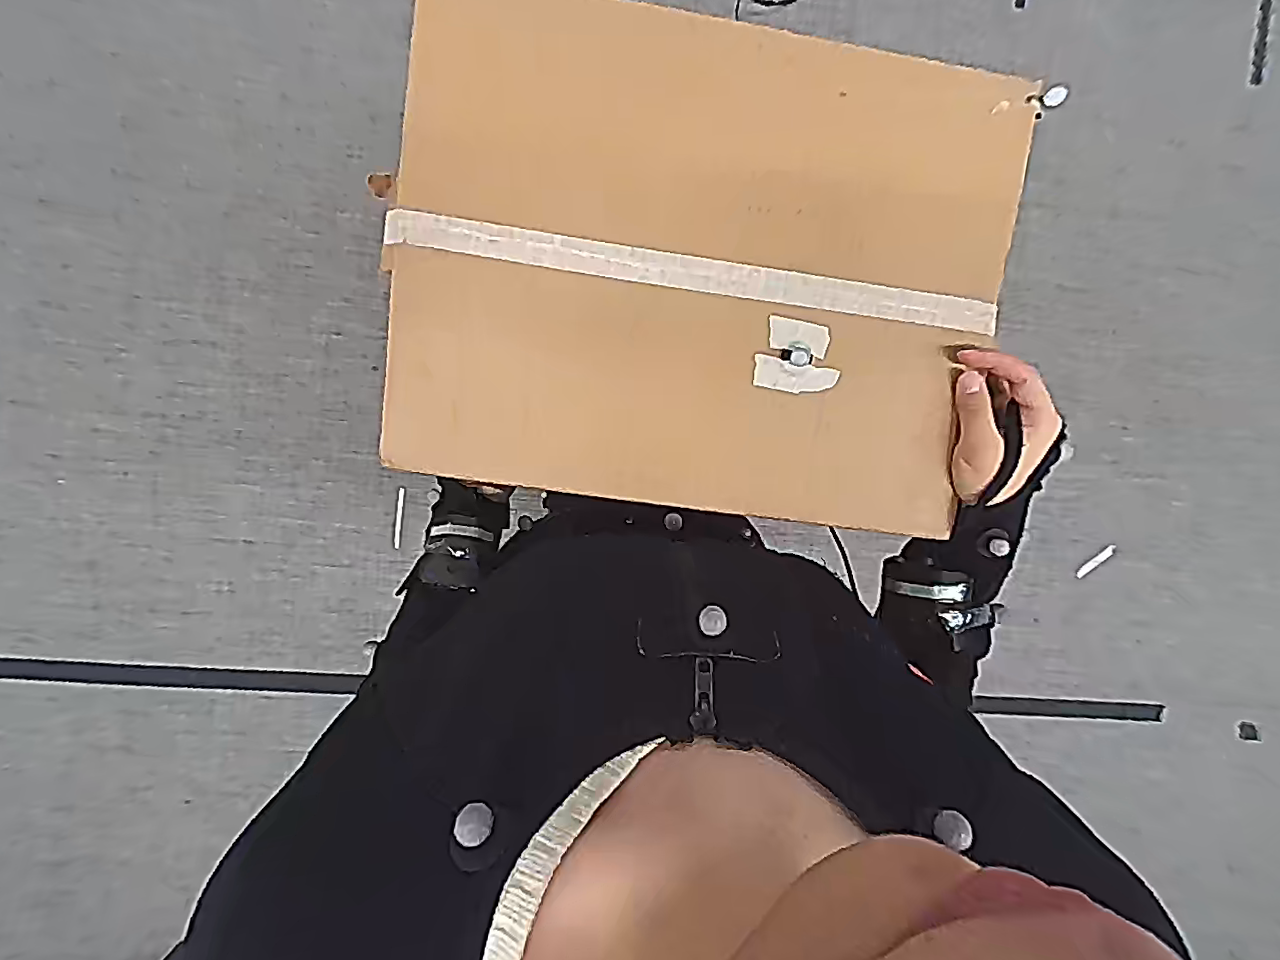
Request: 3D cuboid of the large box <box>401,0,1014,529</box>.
[{"bbox_3d":[0.034,-0.150,0.518,0.408,0.320,0.320,7,97,-6],"label":"large box"}]
